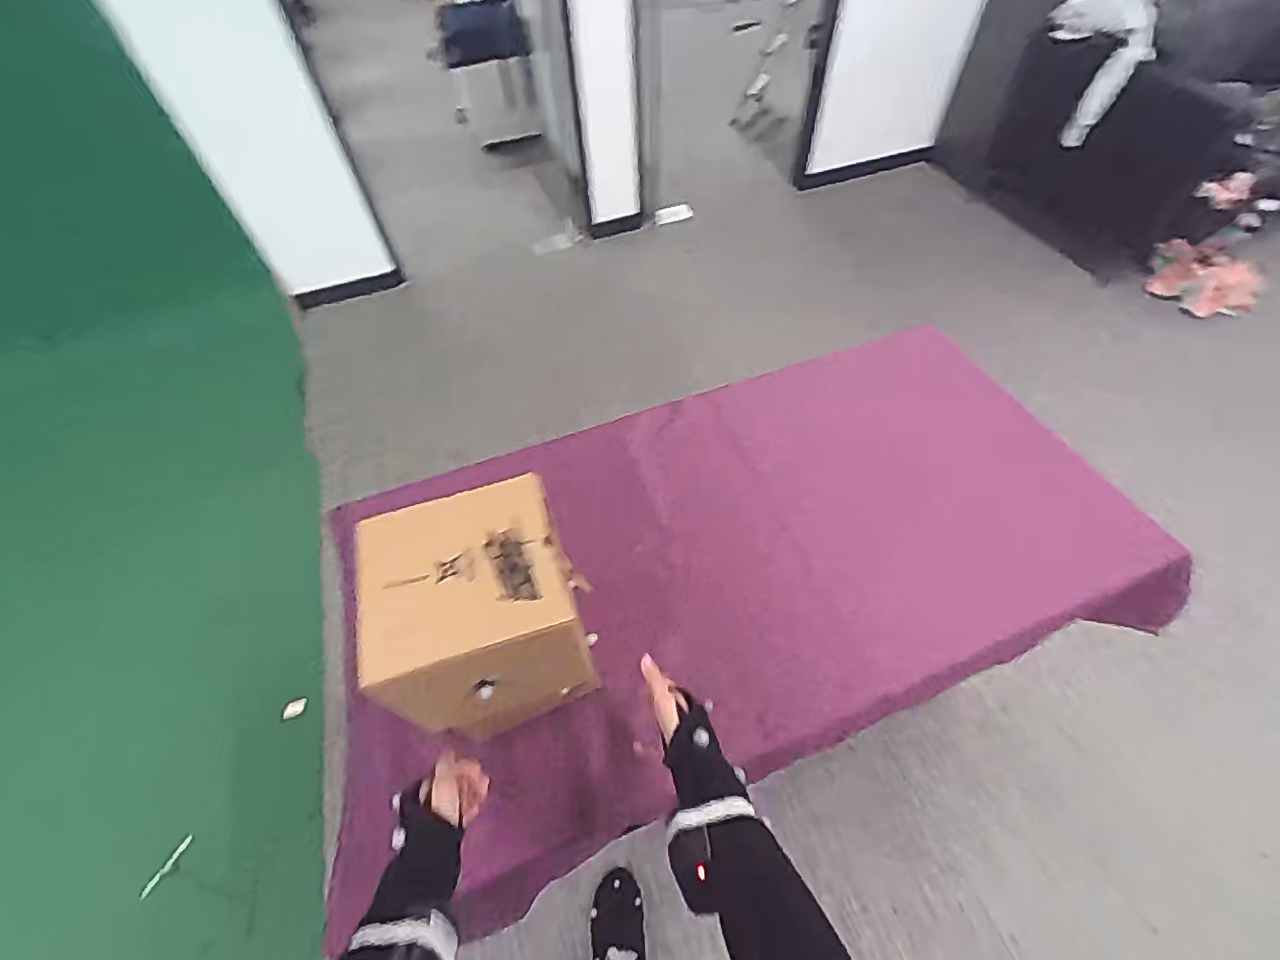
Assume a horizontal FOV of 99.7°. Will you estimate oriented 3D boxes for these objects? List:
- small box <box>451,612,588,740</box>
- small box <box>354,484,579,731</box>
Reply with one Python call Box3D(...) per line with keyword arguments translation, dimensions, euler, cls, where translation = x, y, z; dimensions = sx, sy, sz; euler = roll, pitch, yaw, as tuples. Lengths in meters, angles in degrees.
Box3D(translation=(-0.174, 0.210, 0.701), dimensions=(0.179, 0.176, 0.168), euler=(-21, 56, -11), cls="small box")
Box3D(translation=(-0.166, 0.134, 0.553), dimensions=(0.179, 0.176, 0.168), euler=(-16, 55, -8), cls="small box")
